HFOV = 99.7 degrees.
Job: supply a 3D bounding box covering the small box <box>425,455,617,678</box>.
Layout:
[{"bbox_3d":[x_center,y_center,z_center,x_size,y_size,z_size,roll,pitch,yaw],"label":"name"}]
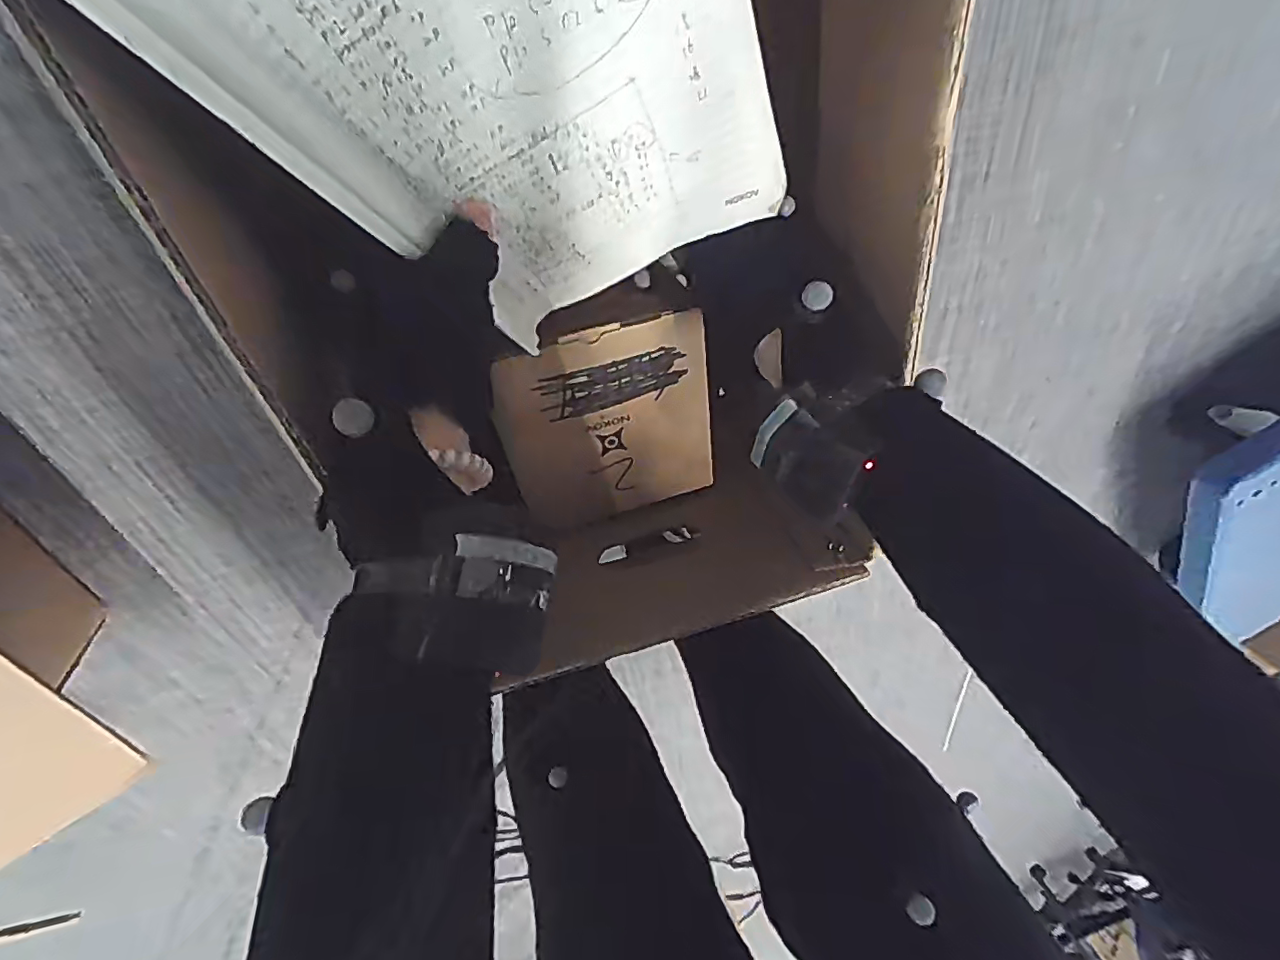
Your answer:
[{"bbox_3d":[-0.137,0.099,0.630,0.179,0.176,0.168,16,124,-3],"label":"small box"}]
